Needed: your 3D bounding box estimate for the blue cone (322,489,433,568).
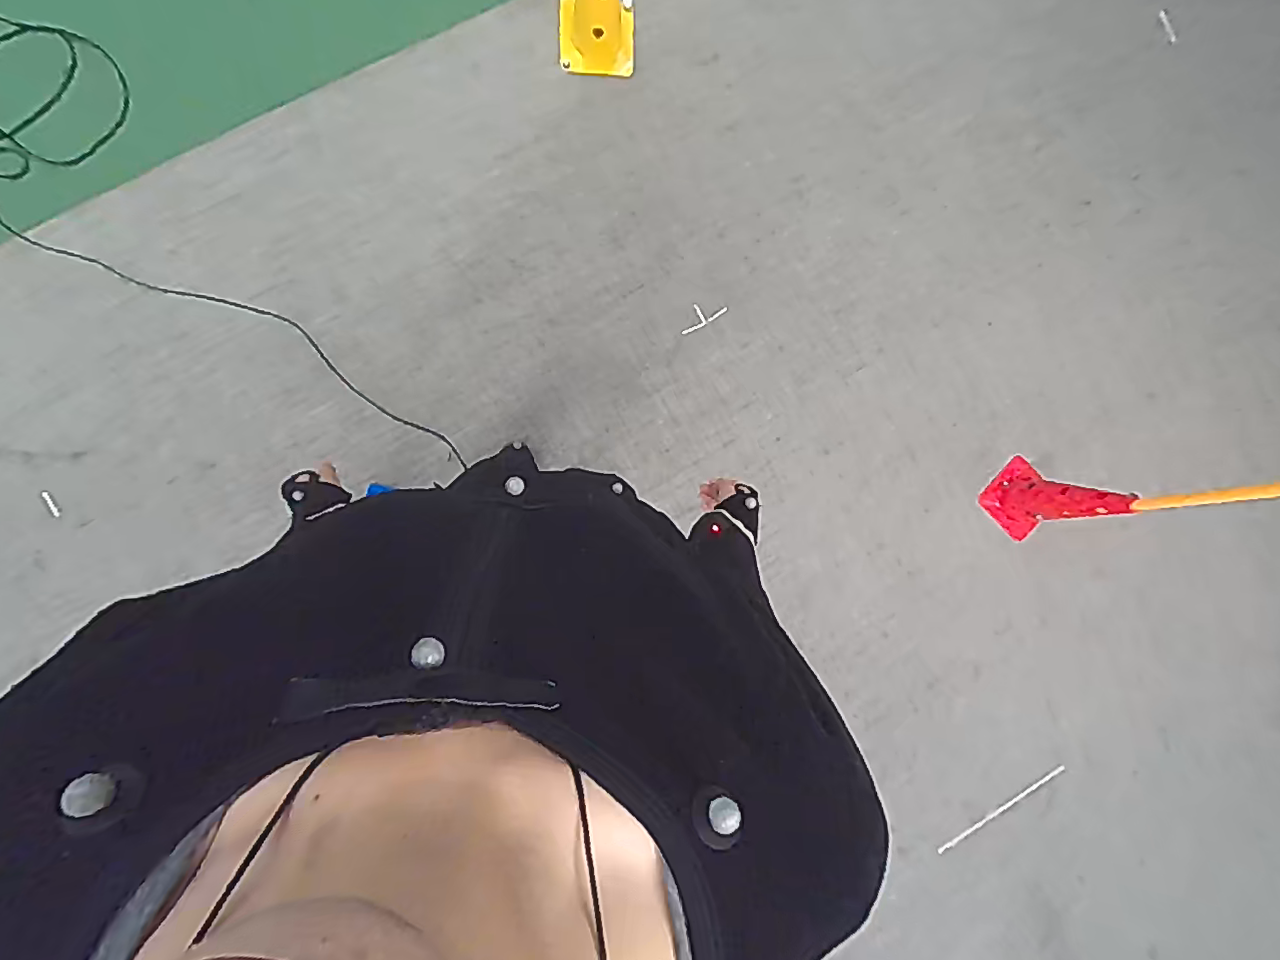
[{"bbox_3d":[-0.630,0.142,1.260,0.192,0.380,0.193,15,92,-8],"label":"blue cone"}]
